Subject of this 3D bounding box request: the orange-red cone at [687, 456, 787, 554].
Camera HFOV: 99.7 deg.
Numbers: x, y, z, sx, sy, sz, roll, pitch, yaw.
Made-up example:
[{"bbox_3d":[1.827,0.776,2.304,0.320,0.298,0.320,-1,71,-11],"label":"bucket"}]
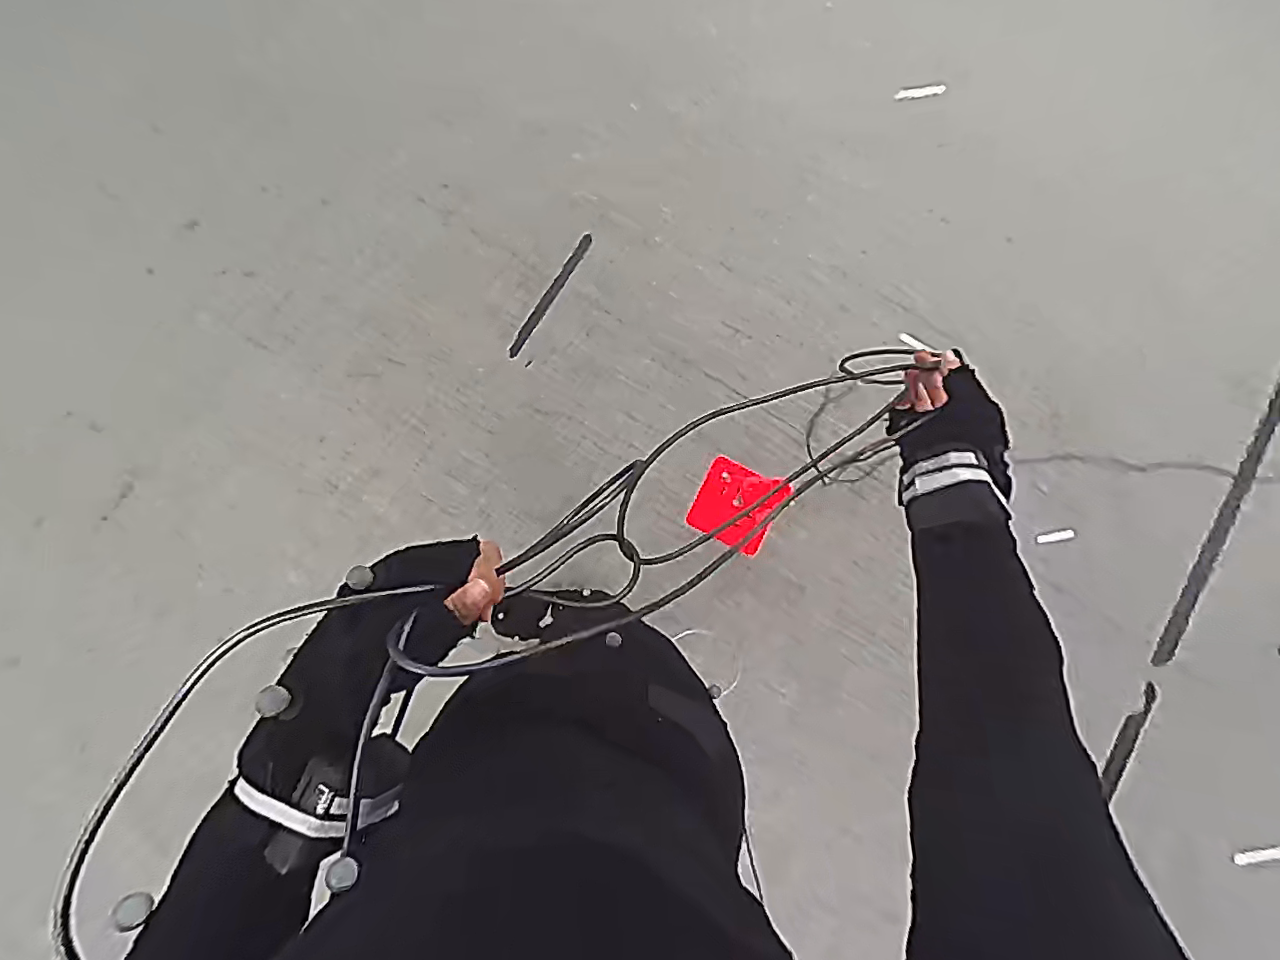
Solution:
[{"bbox_3d":[0.247,0.039,1.174,0.198,0.360,0.199,28,82,1],"label":"orange-red cone"}]
